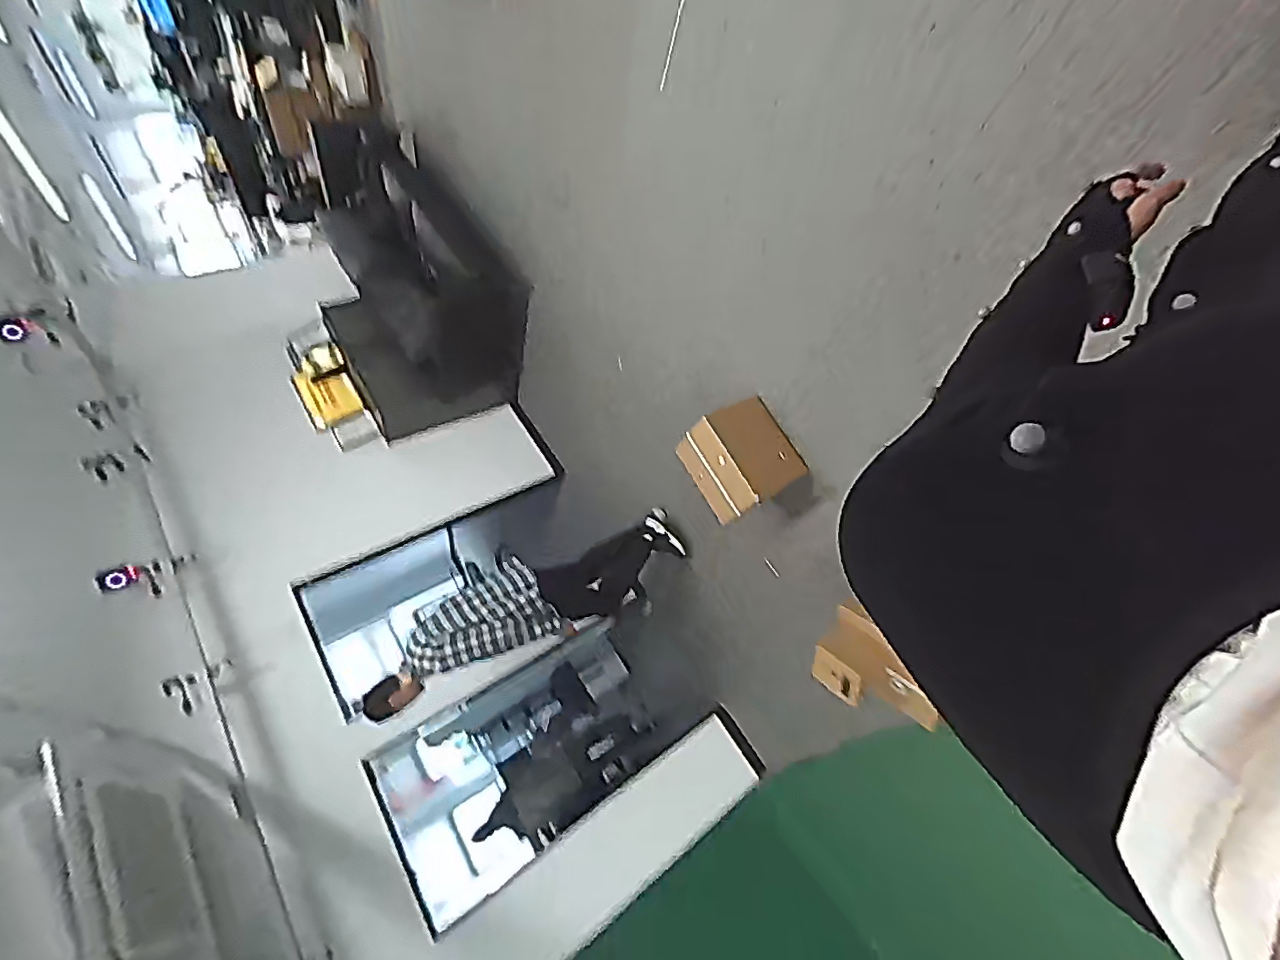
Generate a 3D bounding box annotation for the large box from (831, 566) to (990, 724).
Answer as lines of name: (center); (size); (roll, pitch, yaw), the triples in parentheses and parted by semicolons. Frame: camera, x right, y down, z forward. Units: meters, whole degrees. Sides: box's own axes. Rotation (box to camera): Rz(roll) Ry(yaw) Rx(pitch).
large box: (0.967, 0.577, 1.971); (0.408, 0.320, 0.320); (29, 136, 45)
